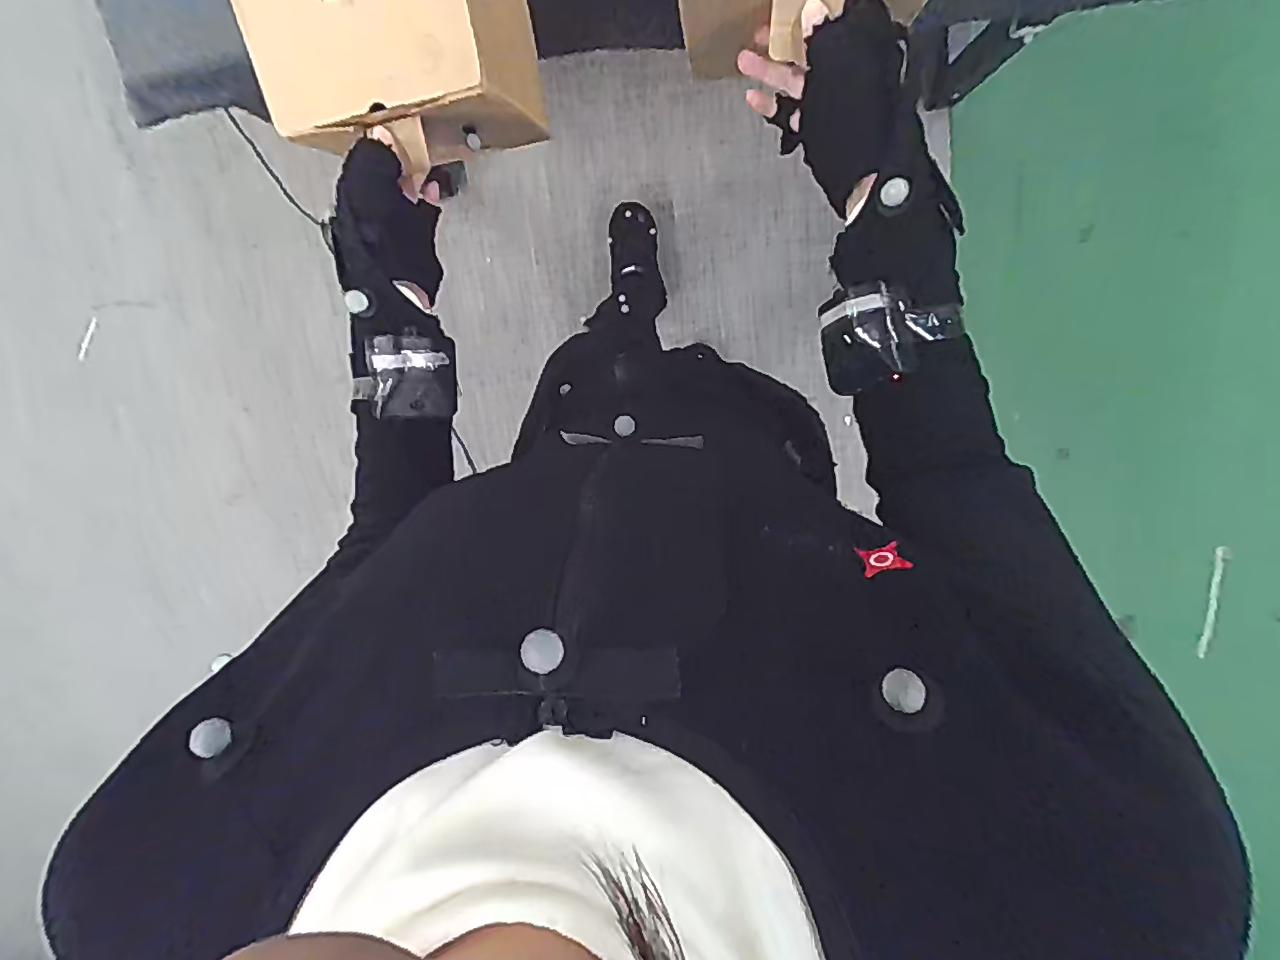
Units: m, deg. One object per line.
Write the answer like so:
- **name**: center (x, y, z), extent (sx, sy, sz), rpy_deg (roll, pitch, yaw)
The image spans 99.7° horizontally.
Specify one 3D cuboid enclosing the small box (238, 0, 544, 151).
- **small box**: center (-0.189, -0.381, 0.431), extent (0.168, 0.176, 0.179), rpy_deg (-6, 111, 10)
